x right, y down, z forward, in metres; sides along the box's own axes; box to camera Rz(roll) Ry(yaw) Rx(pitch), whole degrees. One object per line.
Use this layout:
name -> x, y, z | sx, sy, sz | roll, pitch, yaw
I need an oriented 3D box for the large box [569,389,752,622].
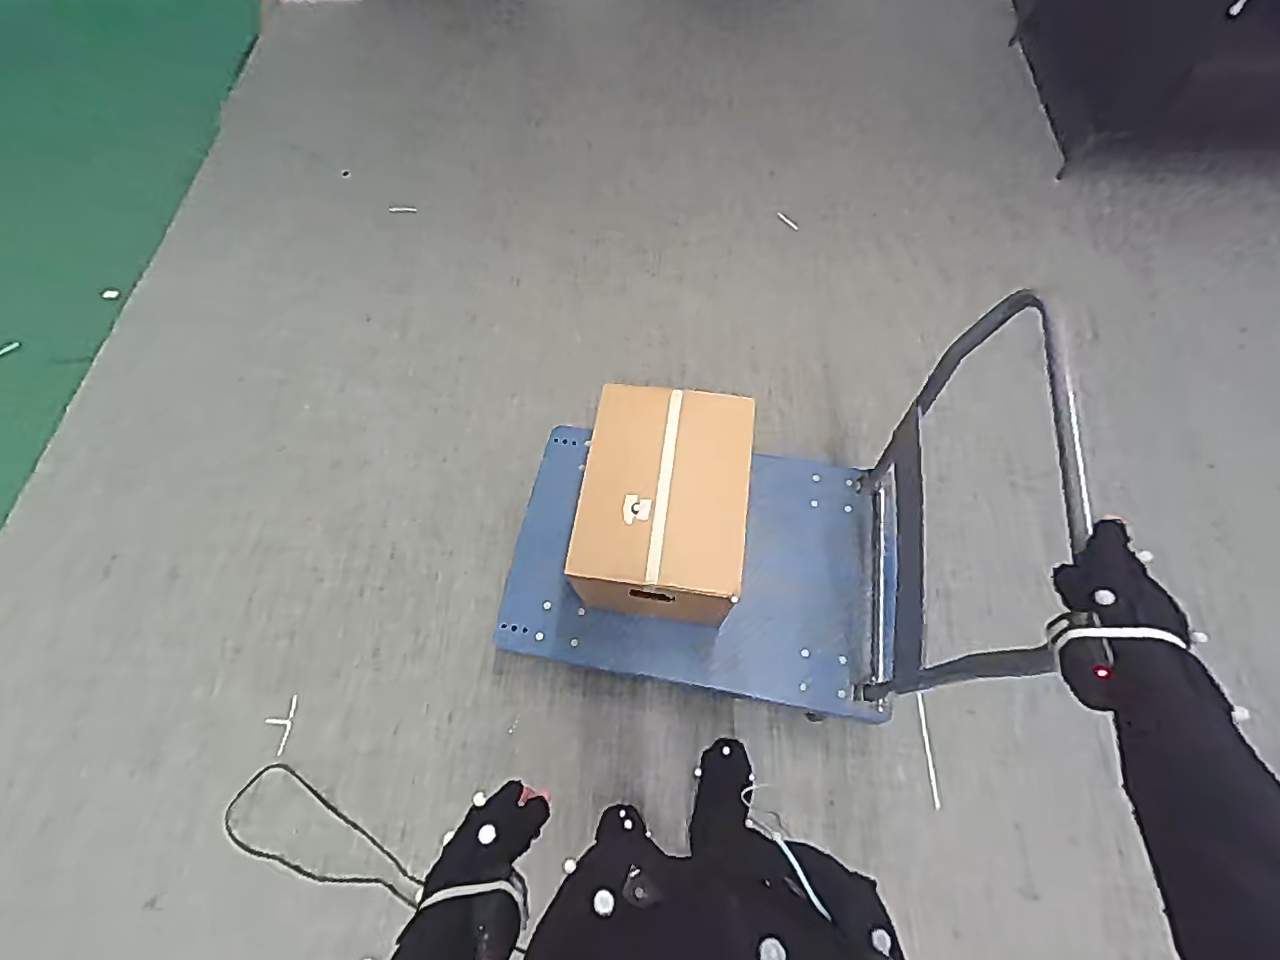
large box -> 0.054, 0.064, 1.160 | 0.320, 0.320, 0.408 | 6, 67, 6
